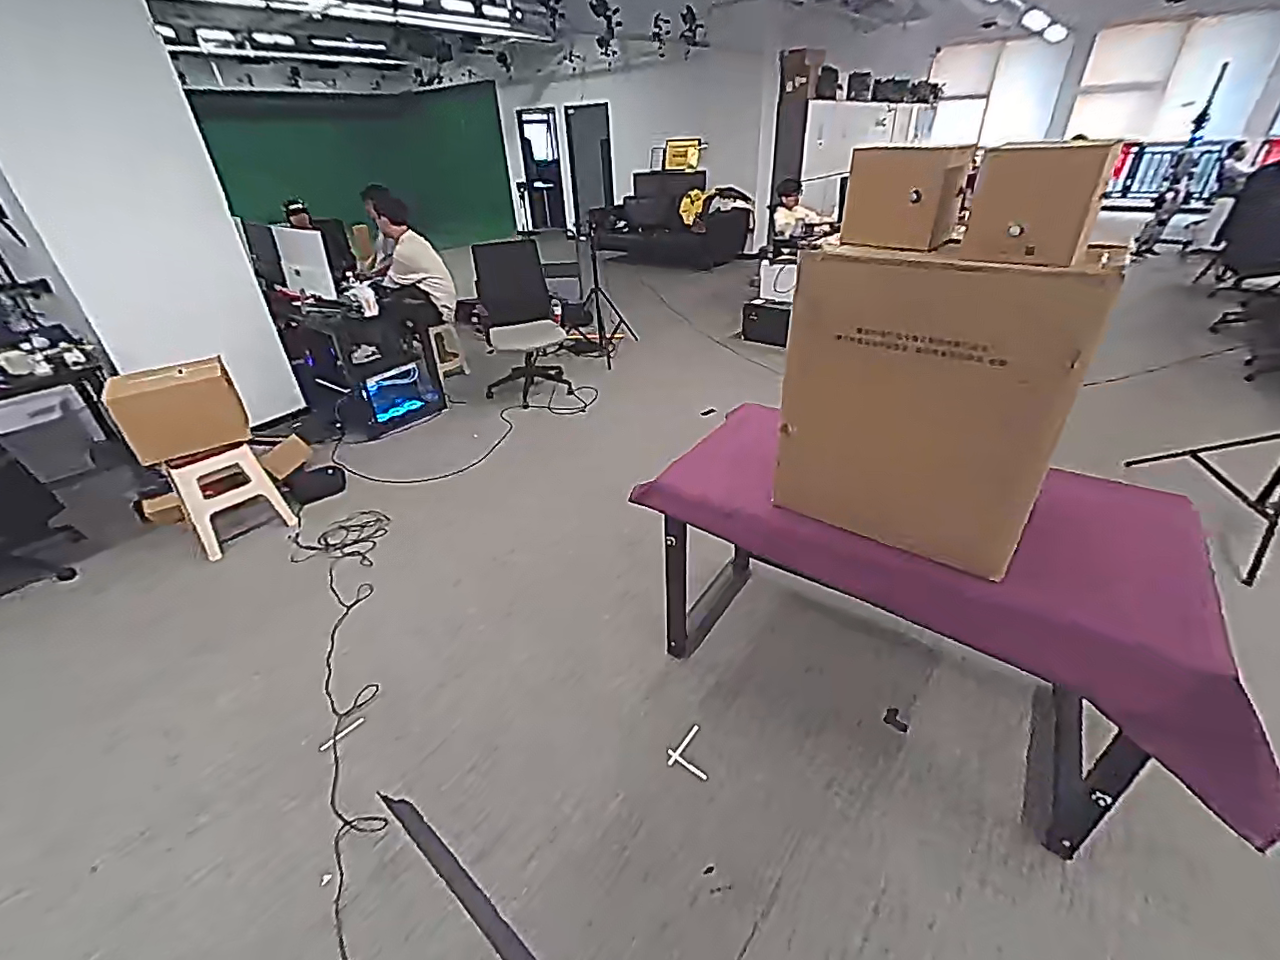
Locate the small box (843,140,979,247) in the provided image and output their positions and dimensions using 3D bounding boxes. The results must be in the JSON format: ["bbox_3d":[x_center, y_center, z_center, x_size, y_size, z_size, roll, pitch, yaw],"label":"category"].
[{"bbox_3d":[0.520,-0.557,1.050,0.179,0.176,0.168,22,39,34],"label":"small box"}]

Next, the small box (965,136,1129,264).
[{"bbox_3d":[0.666,-0.466,0.896,0.168,0.176,0.179,22,40,36],"label":"small box"}]
